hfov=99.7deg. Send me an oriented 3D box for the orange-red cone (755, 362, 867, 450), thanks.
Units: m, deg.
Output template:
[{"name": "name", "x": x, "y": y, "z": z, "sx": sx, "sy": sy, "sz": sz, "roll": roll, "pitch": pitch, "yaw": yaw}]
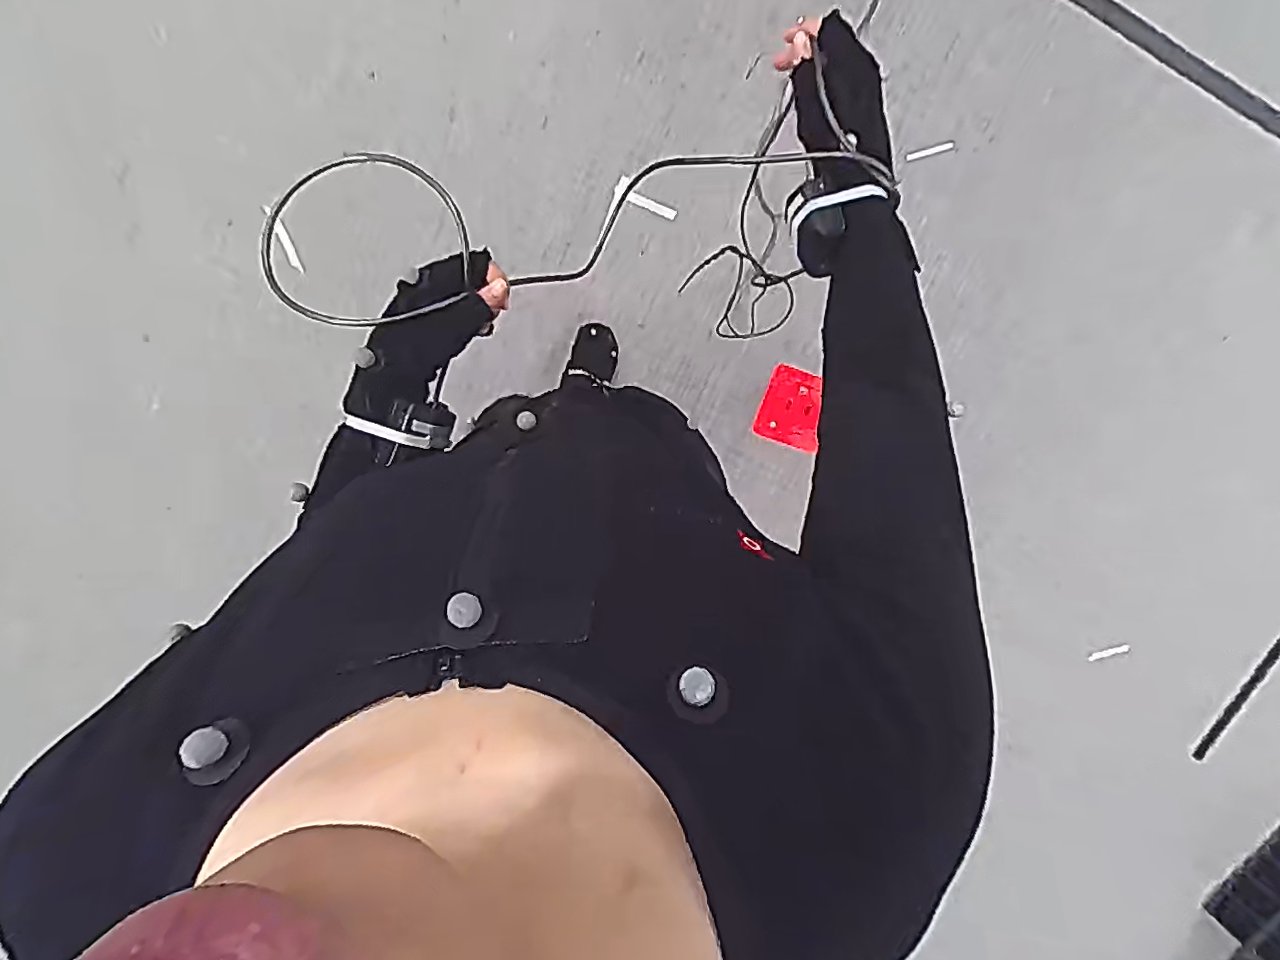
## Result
[{"name": "orange-red cone", "x": 0.436, "y": -0.153, "z": 1.271, "sx": 0.199, "sy": 0.360, "sz": 0.198, "roll": 18, "pitch": 102, "yaw": -9}]
